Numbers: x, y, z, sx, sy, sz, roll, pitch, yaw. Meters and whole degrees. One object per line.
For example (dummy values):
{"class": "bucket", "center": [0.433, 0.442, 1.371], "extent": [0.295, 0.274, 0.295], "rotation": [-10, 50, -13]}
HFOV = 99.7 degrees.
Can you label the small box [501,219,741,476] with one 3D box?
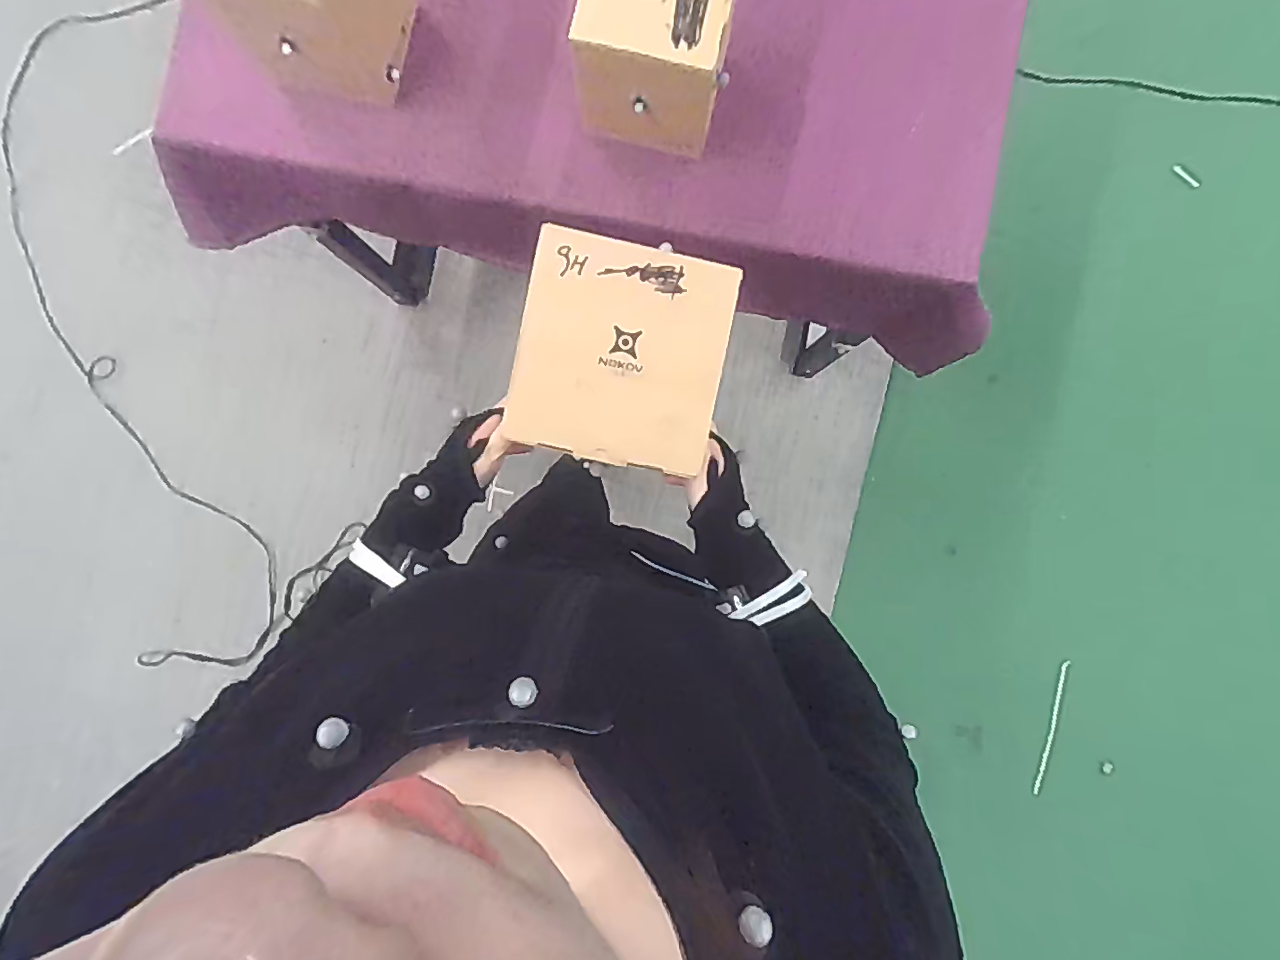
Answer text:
{"class": "small box", "center": [-0.019, -0.110, 0.515], "extent": [0.168, 0.176, 0.179], "rotation": [13, 92, -4]}
